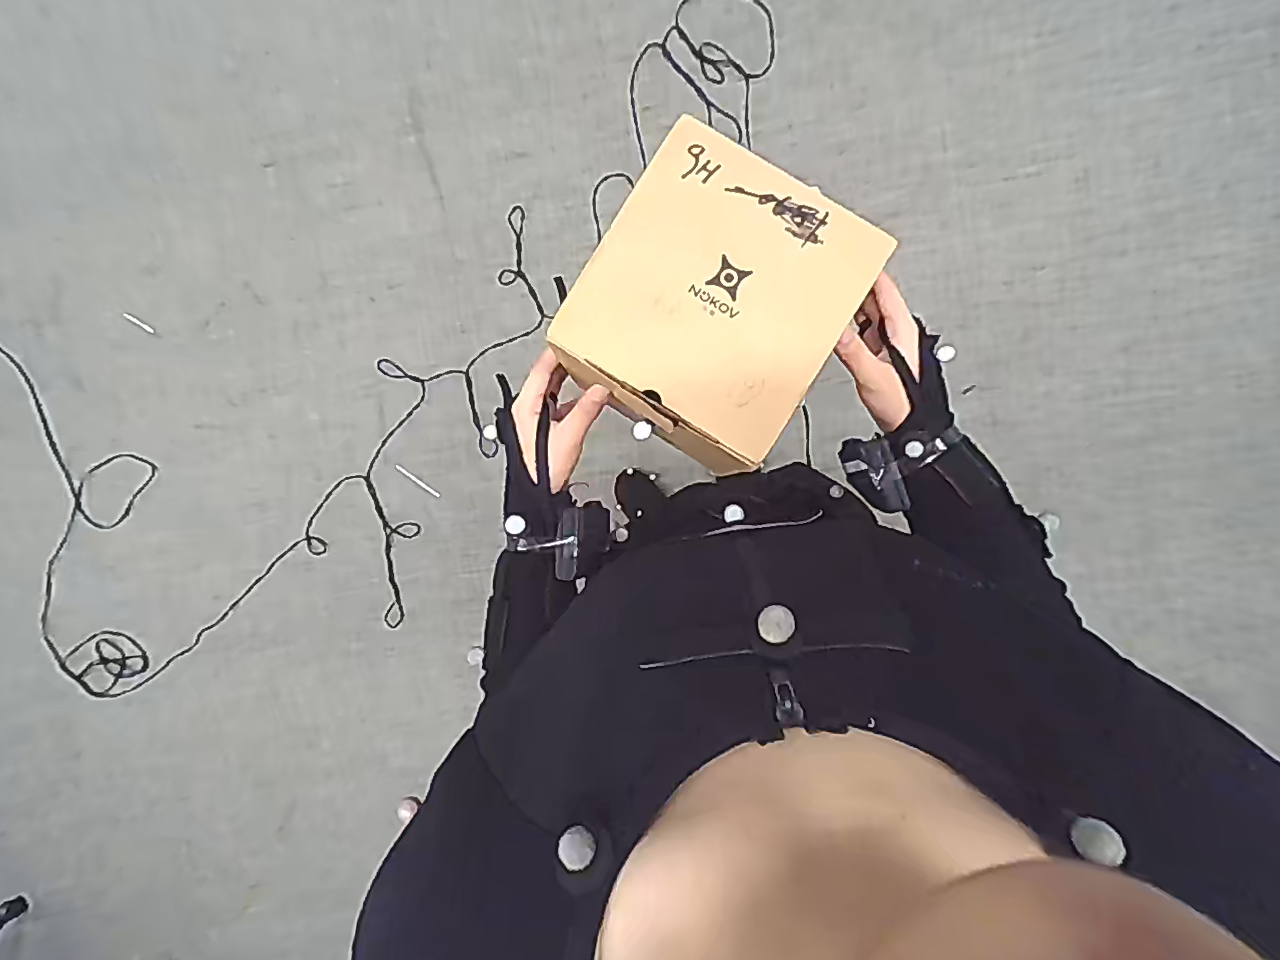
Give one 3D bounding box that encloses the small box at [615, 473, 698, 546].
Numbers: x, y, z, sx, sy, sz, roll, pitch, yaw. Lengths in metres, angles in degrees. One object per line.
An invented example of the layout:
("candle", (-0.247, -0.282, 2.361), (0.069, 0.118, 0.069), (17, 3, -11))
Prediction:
("small box", (0.042, 0.069, 1.328), (0.179, 0.176, 0.168), (3, 90, 14))
